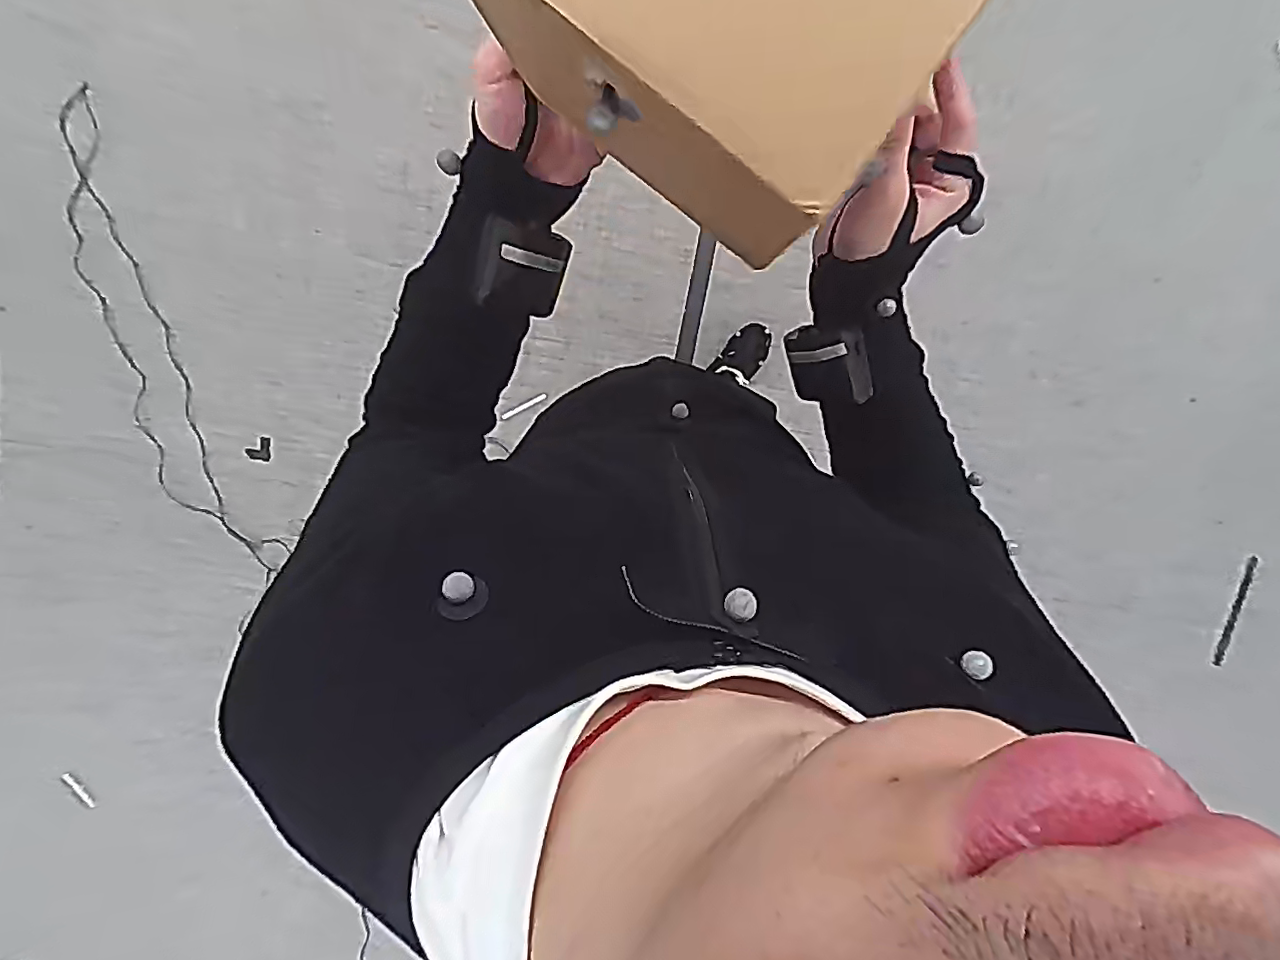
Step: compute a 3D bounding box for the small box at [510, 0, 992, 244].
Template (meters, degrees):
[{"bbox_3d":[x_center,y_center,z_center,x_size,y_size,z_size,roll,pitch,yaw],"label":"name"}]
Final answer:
[{"bbox_3d":[0.052,-0.229,0.239,0.179,0.176,0.168,34,106,-6],"label":"small box"}]
